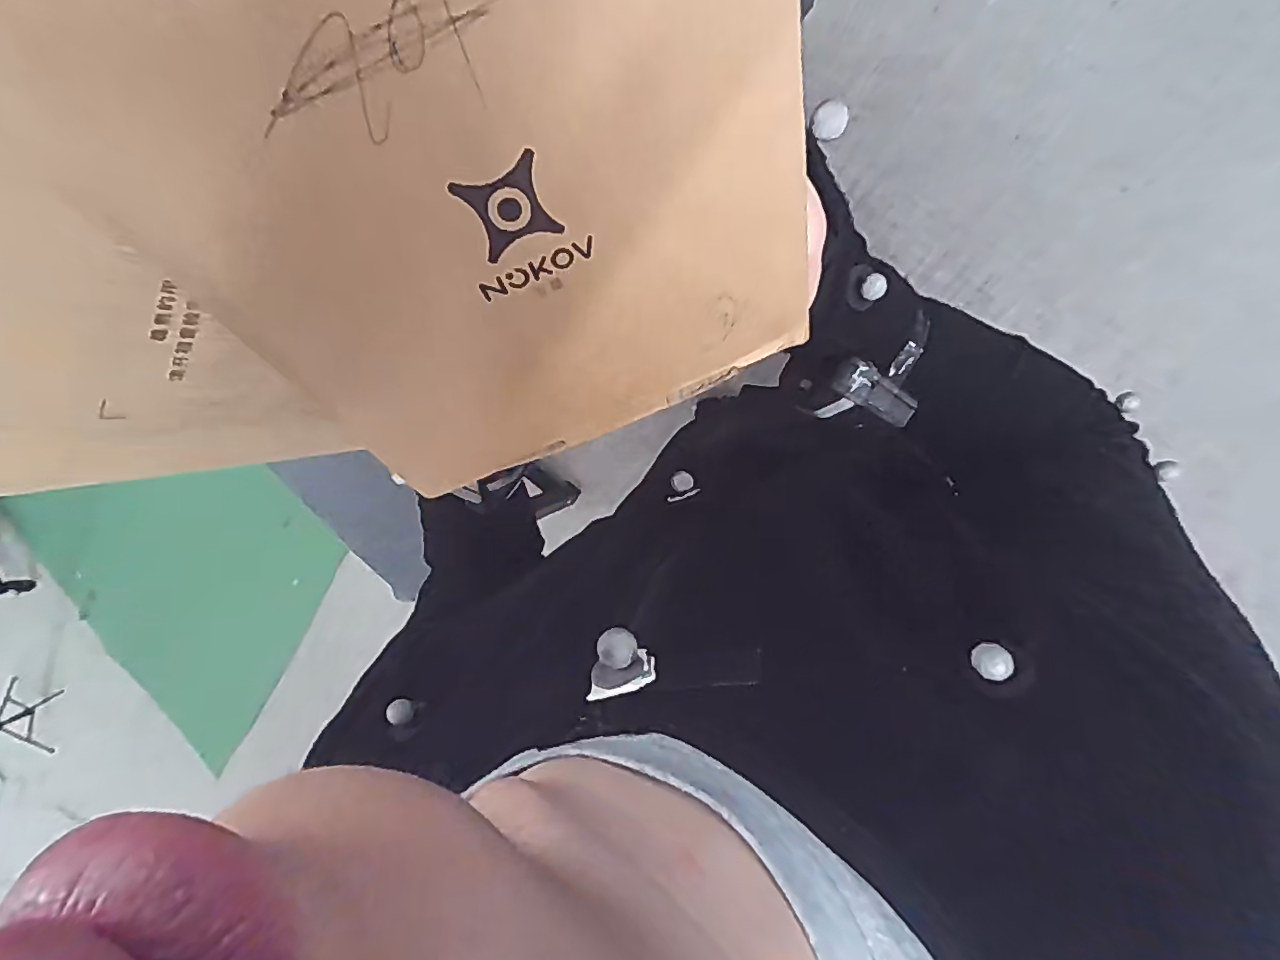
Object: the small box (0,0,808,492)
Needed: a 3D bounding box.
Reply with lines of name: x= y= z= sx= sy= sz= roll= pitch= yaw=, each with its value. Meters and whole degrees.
small box: x=-0.053 y=-0.131 z=0.200 sx=0.168 sy=0.179 sz=0.176 roll=-23 pitch=52 yaw=3
